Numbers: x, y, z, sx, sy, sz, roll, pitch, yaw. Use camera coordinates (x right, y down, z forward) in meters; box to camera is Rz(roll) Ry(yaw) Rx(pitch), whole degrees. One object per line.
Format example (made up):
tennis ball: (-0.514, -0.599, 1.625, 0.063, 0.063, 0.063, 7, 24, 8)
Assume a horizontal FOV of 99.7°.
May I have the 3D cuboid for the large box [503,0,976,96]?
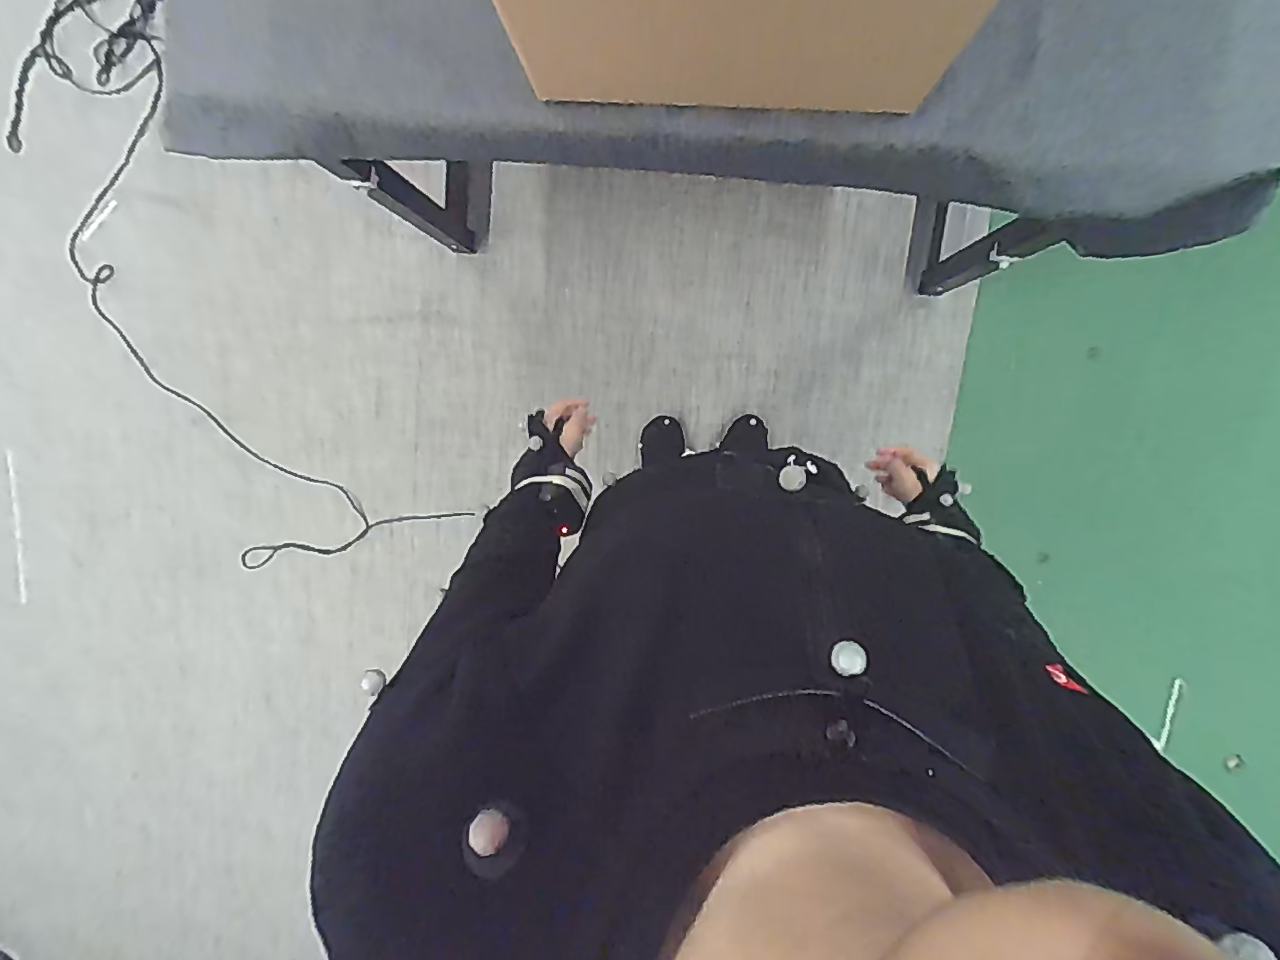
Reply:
large box: (0.083, -0.544, 0.413, 0.408, 0.320, 0.320, 4, 97, 3)
